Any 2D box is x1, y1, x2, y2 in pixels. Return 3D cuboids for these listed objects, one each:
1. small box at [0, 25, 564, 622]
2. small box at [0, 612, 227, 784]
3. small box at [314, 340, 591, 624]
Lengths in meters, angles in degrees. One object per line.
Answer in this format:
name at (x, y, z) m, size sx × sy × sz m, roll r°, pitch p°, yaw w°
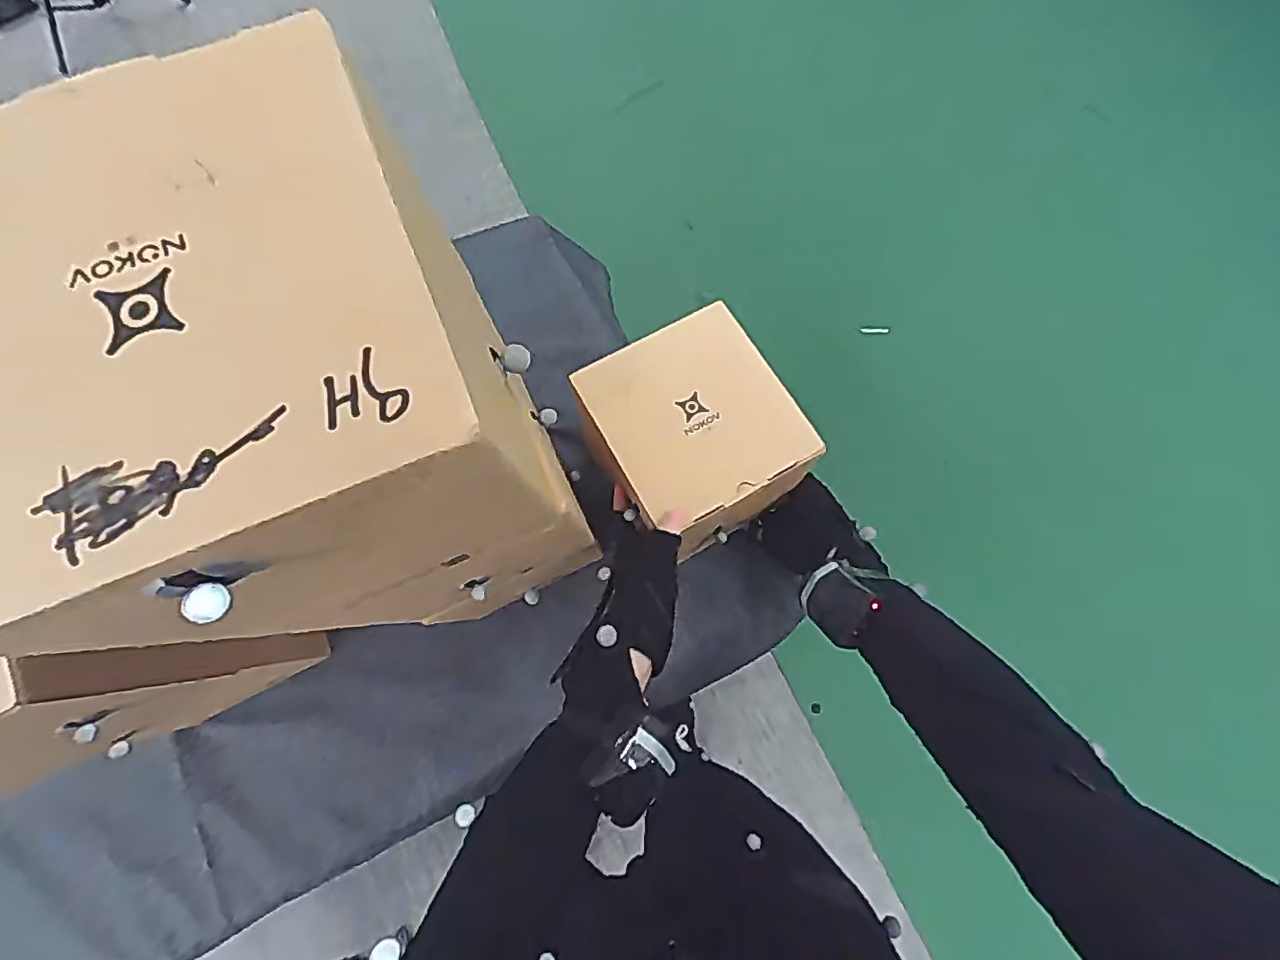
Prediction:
small box at (-0.148, -0.043, 0.251) m, size 0.168 × 0.176 × 0.179 m, roll -22°, pitch 77°, yaw -4°
small box at (-0.444, 0.109, 0.386) m, size 0.179 × 0.176 × 0.168 m, roll -29°, pitch 77°, yaw -6°
small box at (-0.147, -0.007, 0.412) m, size 0.168 × 0.176 × 0.179 m, roll -24°, pitch 78°, yaw -5°
